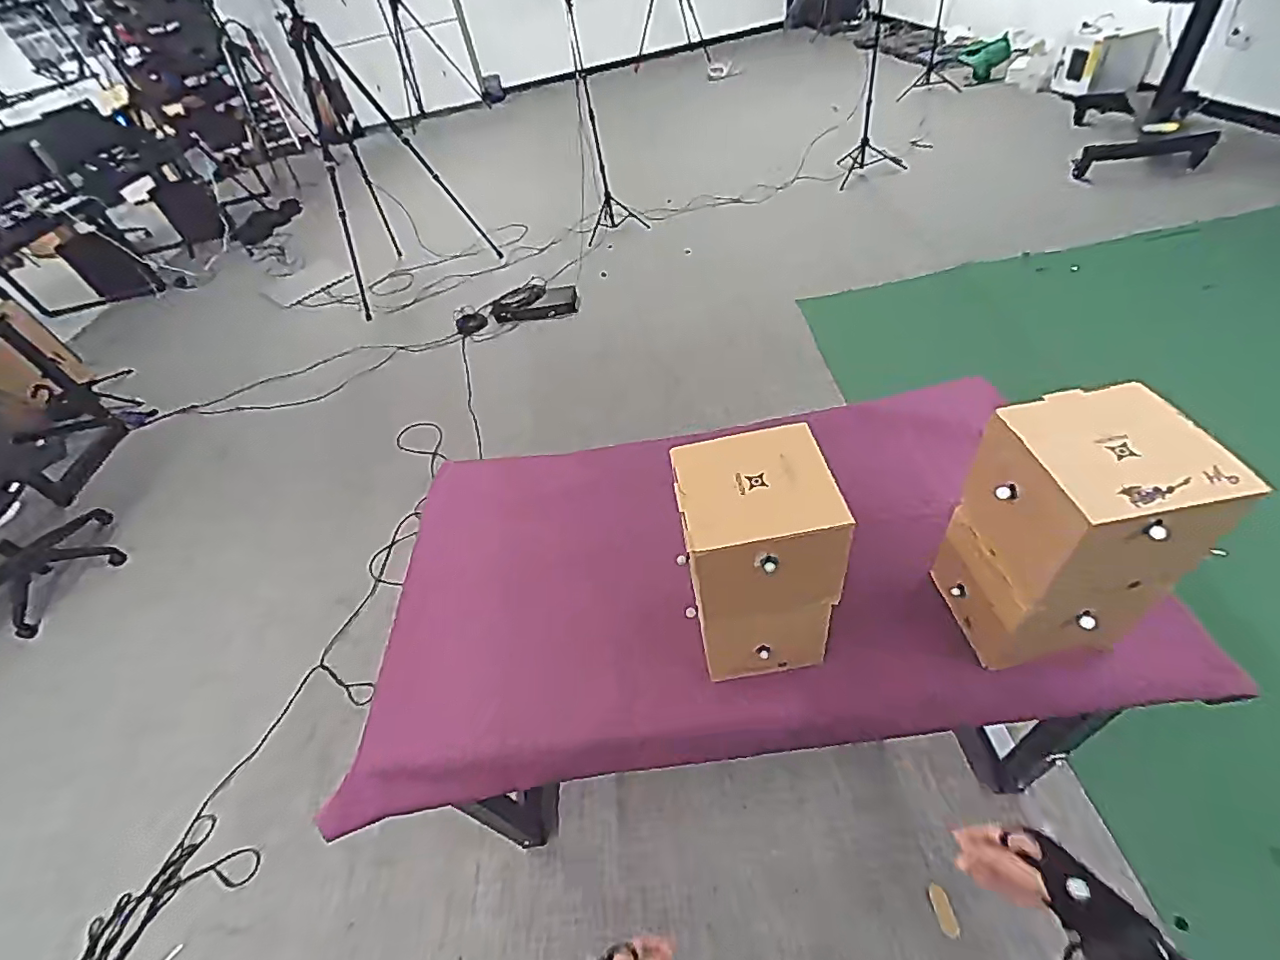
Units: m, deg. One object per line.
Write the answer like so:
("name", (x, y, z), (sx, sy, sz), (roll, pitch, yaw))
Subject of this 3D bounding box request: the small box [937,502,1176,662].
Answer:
("small box", (0.541, 0.127, 0.738), (0.179, 0.176, 0.168), (-13, 47, 5))

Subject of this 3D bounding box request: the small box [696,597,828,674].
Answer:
("small box", (0.168, 0.169, 0.798), (0.168, 0.176, 0.179), (-11, 45, 4))

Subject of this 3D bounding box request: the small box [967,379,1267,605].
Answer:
("small box", (0.511, 0.015, 0.622), (0.168, 0.176, 0.179), (-13, 46, 5))

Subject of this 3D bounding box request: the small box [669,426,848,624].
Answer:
("small box", (0.143, 0.062, 0.678), (0.179, 0.176, 0.168), (-11, 46, 4))
